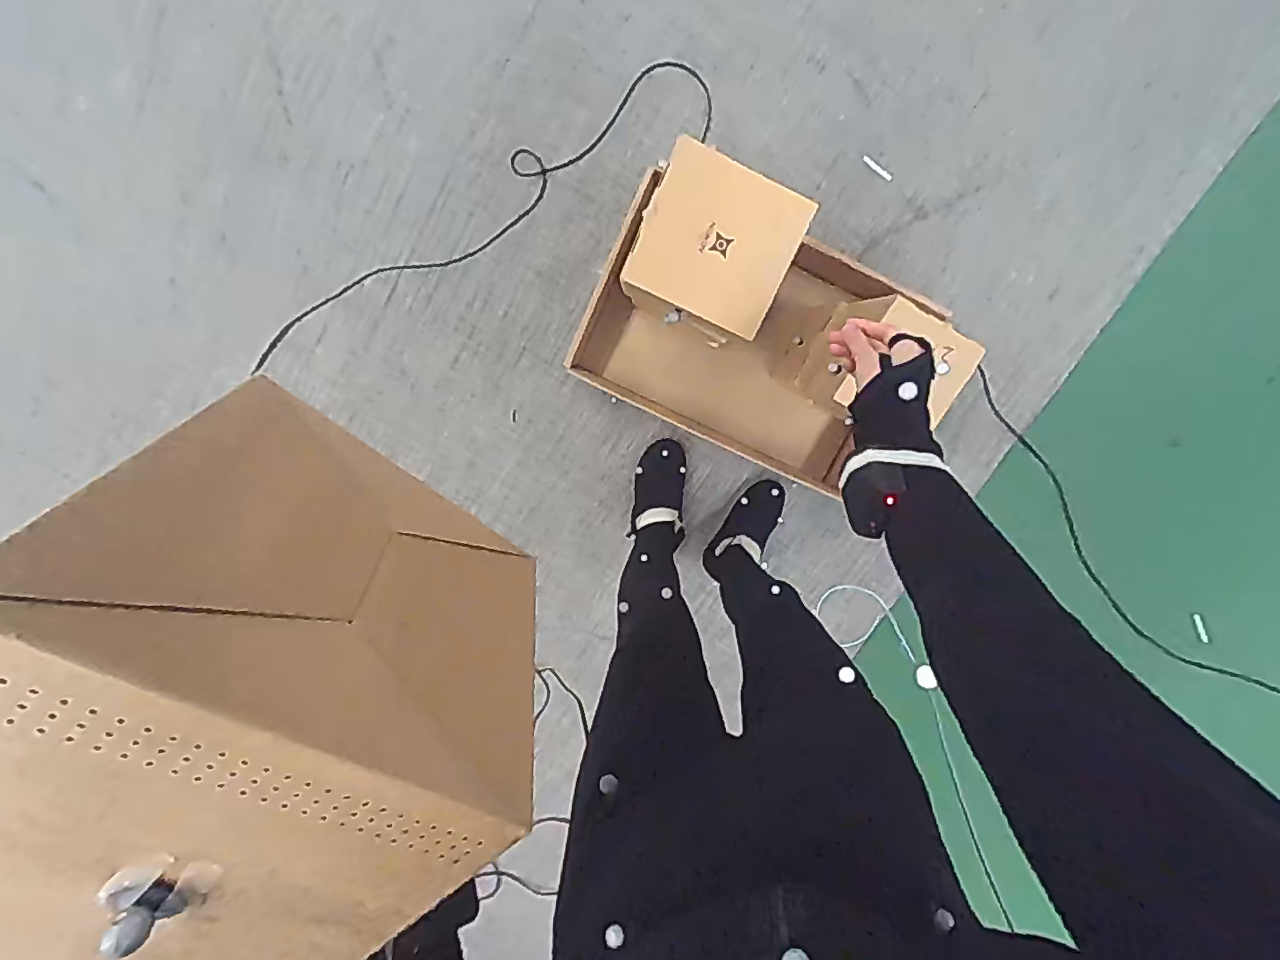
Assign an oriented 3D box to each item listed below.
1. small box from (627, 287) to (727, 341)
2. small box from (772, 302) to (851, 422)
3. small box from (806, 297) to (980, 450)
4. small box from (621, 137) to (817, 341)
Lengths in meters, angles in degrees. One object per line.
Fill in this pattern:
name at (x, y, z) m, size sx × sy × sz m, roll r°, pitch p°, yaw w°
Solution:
small box at (0.087, -0.331, 0.852) m, size 0.179 × 0.176 × 0.168 m, roll 29°, pitch 102°, yaw -8°
small box at (0.382, -0.219, 1.049) m, size 0.179 × 0.176 × 0.168 m, roll 29°, pitch 101°, yaw -7°
small box at (0.397, -0.174, 0.890) m, size 0.168 × 0.176 × 0.179 m, roll 29°, pitch 100°, yaw -8°
small box at (0.090, -0.292, 0.694) m, size 0.179 × 0.176 × 0.168 m, roll 24°, pitch 103°, yaw -5°
